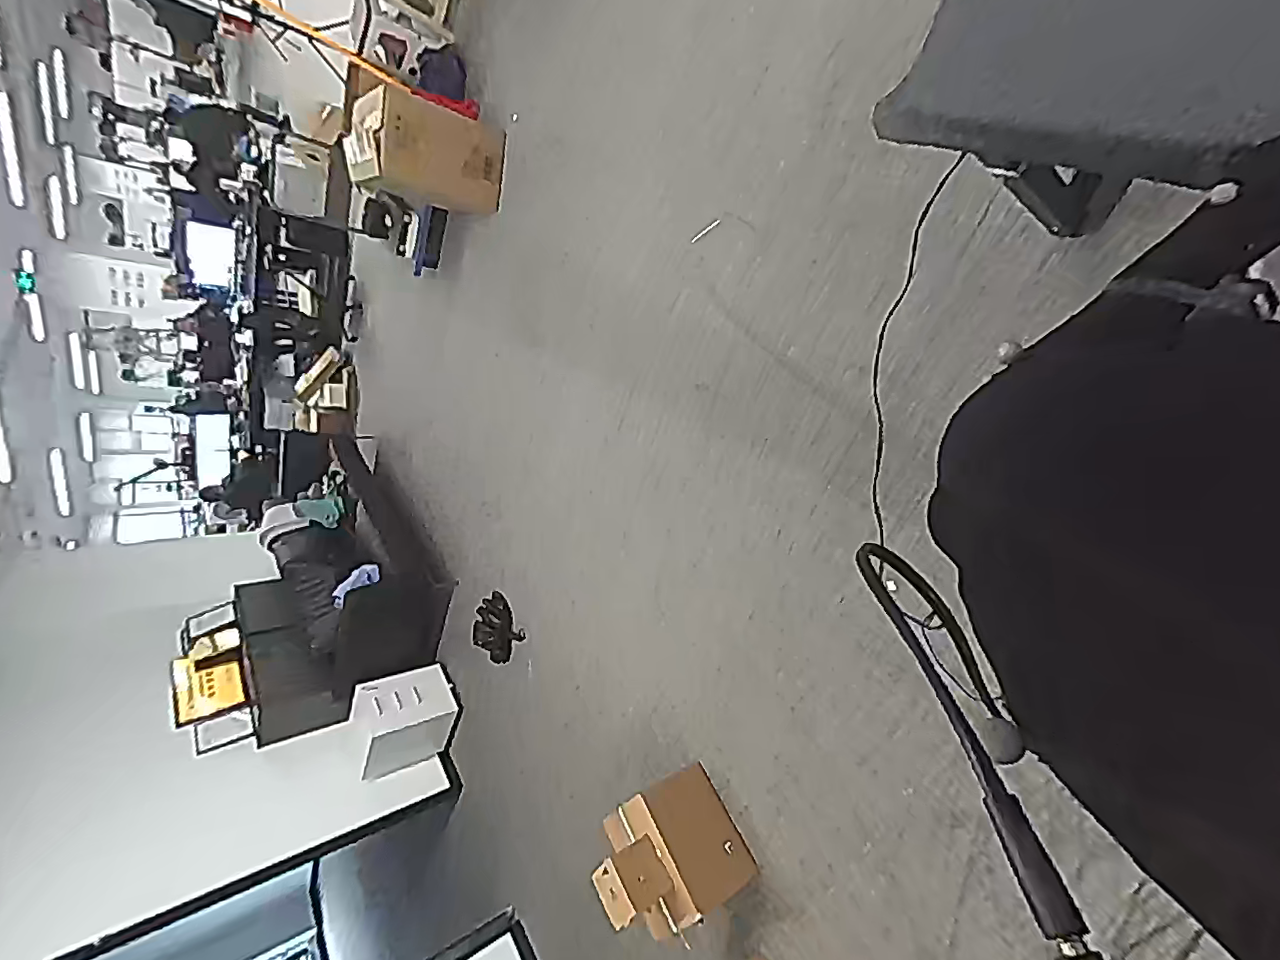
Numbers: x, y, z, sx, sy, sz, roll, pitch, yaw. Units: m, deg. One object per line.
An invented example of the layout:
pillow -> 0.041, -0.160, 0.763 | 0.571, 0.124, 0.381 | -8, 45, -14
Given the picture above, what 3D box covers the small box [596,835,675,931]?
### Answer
small box -> -0.012, 1.343, 1.810 | 0.179, 0.176, 0.168 | 50, 127, 33
